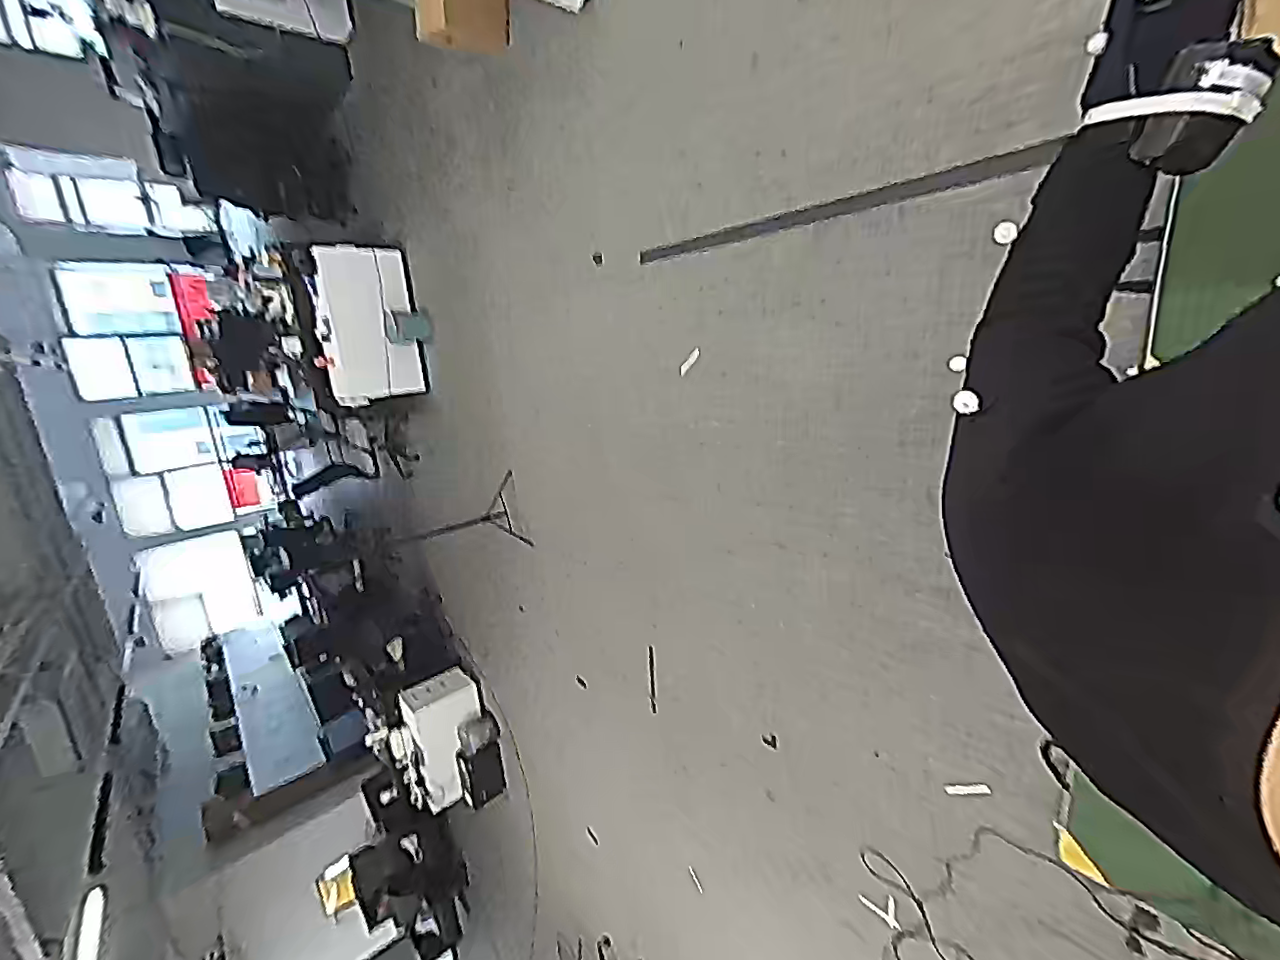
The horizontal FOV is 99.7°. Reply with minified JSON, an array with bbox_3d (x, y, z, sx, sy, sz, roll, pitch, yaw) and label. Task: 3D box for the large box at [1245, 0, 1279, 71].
[{"bbox_3d":[0.602,-0.456,0.250,0.408,0.320,0.320,10,123,47],"label":"large box"}]
